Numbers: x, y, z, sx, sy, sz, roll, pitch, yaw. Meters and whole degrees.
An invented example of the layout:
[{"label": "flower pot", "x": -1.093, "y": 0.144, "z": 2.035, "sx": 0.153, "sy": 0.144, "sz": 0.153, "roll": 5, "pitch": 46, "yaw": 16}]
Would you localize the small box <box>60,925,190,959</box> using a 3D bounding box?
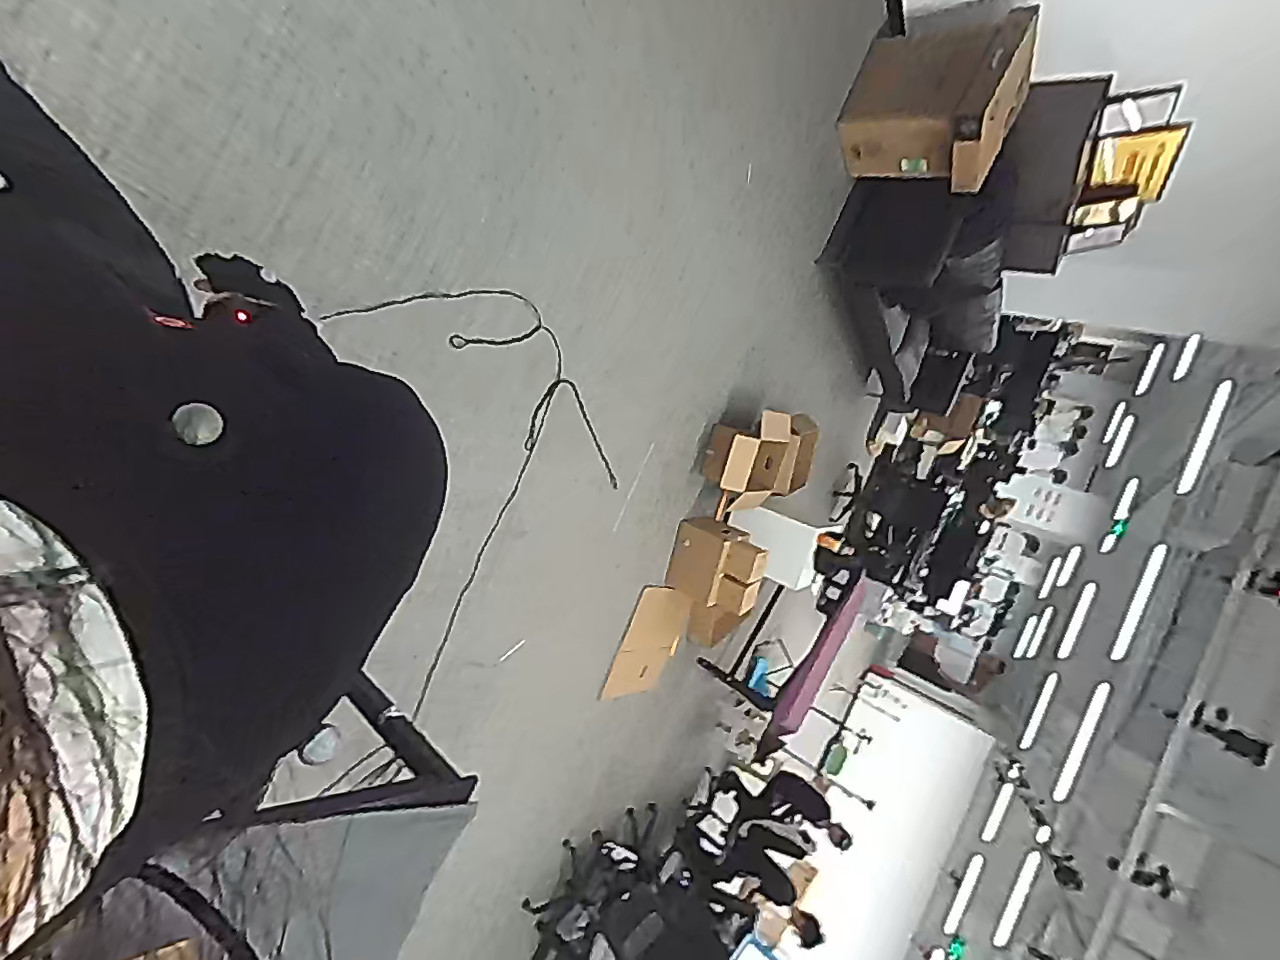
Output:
[{"label": "small box", "x": -0.720, "y": 0.760, "z": 0.718, "sx": 0.168, "sy": 0.176, "sz": 0.179, "roll": 28, "pitch": 86, "yaw": -56}]
